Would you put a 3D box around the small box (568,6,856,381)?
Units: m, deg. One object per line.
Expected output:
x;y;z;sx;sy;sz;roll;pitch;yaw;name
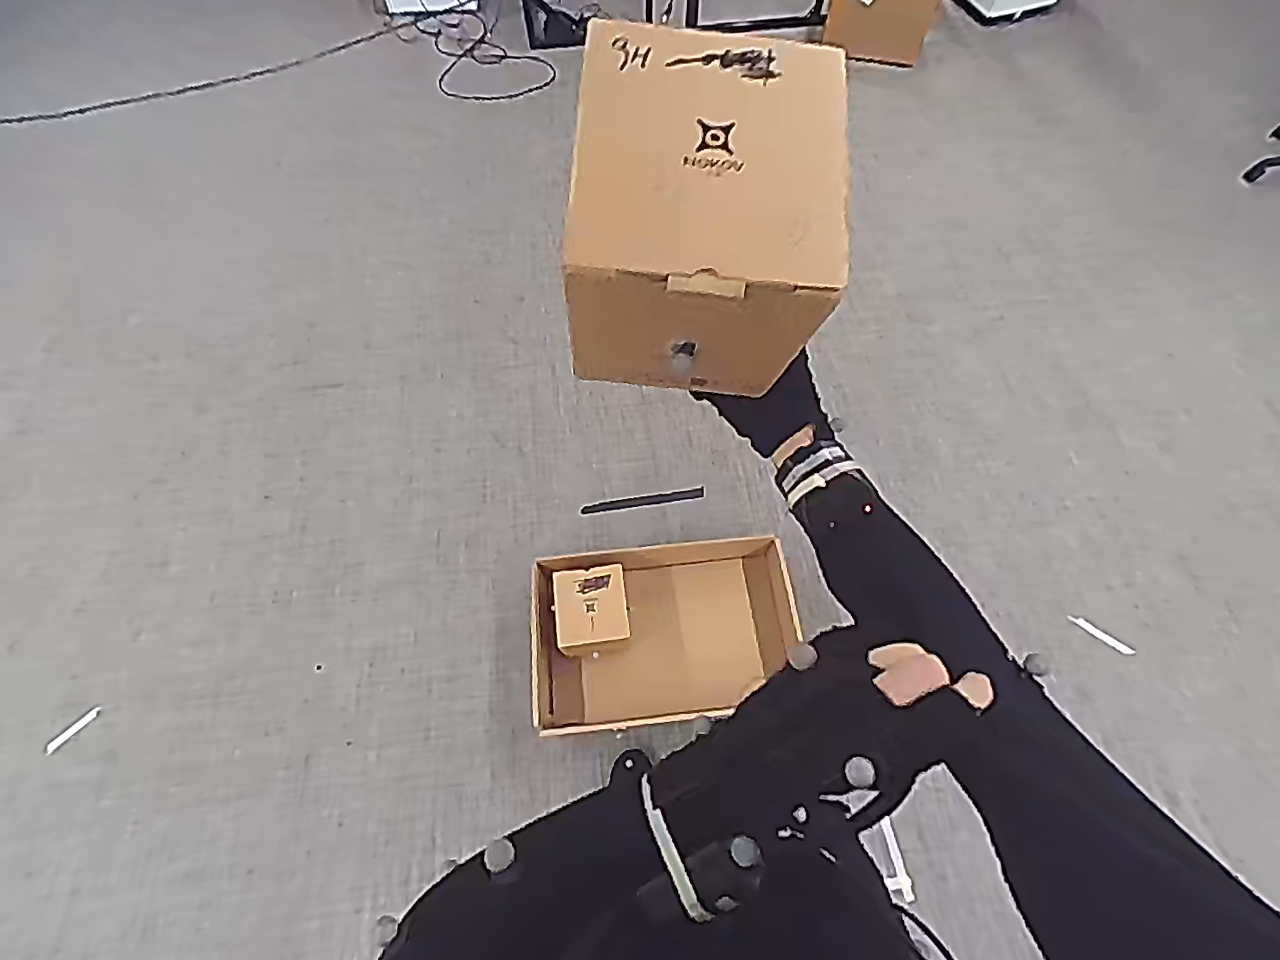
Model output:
0.042;-0.186;0.400;0.168;0.176;0.179;5;79;-3;small box
